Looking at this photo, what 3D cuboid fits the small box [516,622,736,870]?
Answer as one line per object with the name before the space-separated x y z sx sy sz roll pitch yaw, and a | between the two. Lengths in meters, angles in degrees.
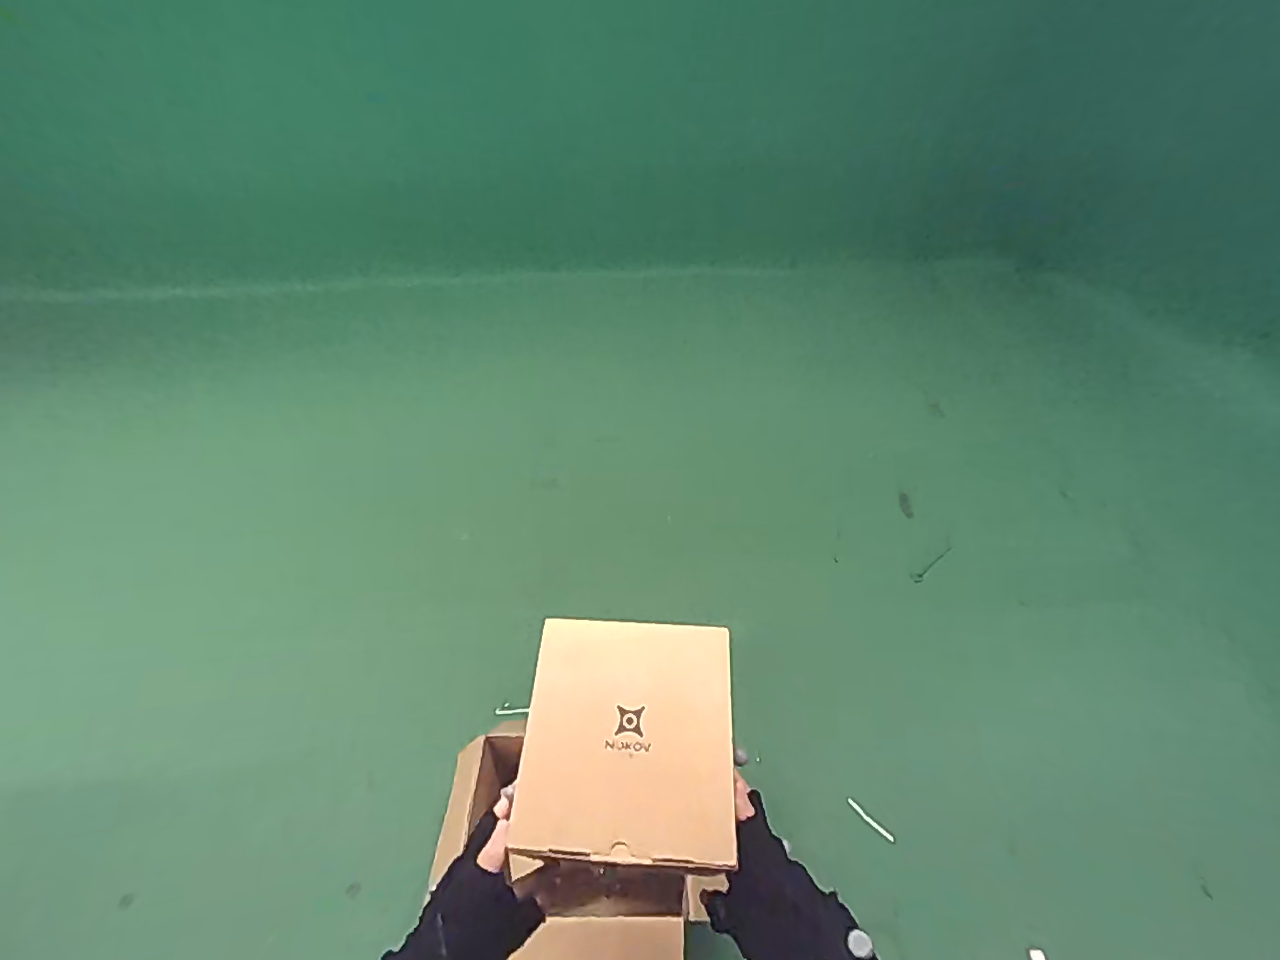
small box | -0.006 0.252 0.507 0.168 0.176 0.179 2 54 2
